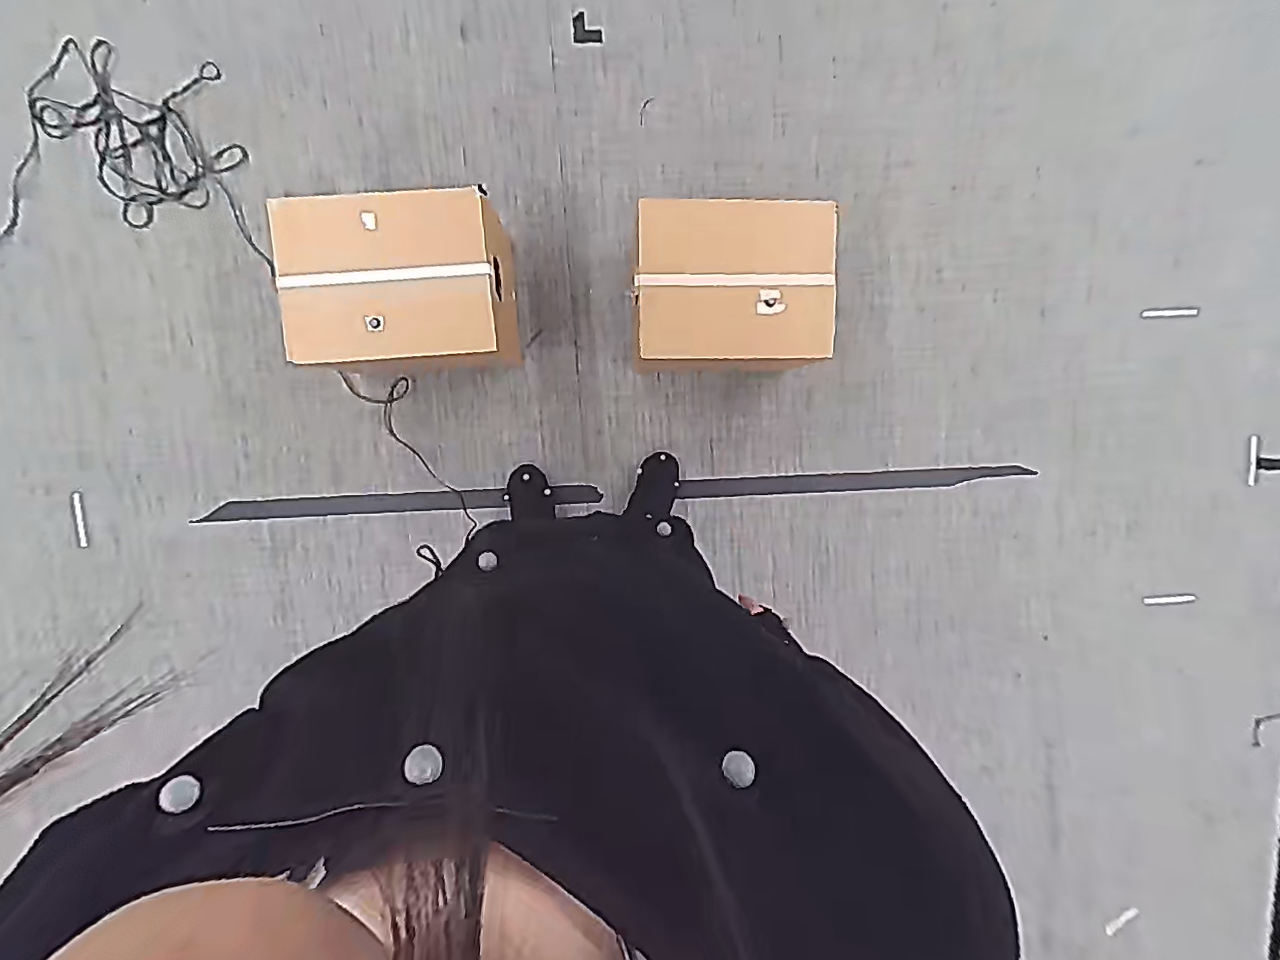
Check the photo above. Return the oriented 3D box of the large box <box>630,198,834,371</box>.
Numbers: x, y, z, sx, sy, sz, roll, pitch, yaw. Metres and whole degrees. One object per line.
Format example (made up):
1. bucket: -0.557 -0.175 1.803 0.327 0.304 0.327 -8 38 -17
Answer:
1. large box: 0.188 -0.427 1.248 0.408 0.320 0.320 -1 97 -4
